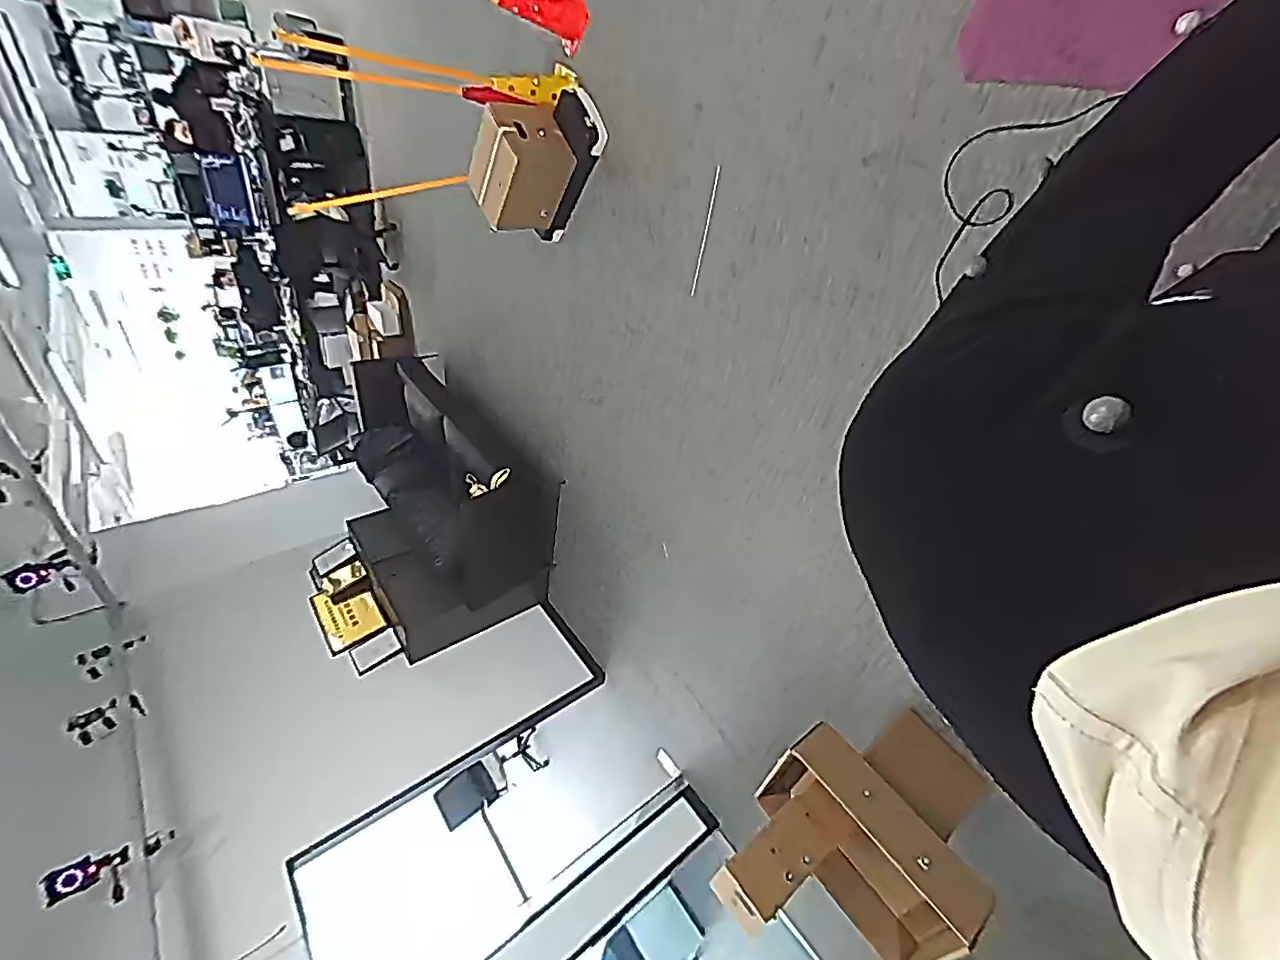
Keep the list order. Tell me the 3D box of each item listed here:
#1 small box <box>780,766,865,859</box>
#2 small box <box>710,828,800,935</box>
[{"bbox_3d":[0.595,1.076,1.757,0.168,0.176,0.179,45,137,33],"label":"small box"},{"bbox_3d":[0.337,1.160,1.572,0.168,0.176,0.179,44,138,34],"label":"small box"}]
